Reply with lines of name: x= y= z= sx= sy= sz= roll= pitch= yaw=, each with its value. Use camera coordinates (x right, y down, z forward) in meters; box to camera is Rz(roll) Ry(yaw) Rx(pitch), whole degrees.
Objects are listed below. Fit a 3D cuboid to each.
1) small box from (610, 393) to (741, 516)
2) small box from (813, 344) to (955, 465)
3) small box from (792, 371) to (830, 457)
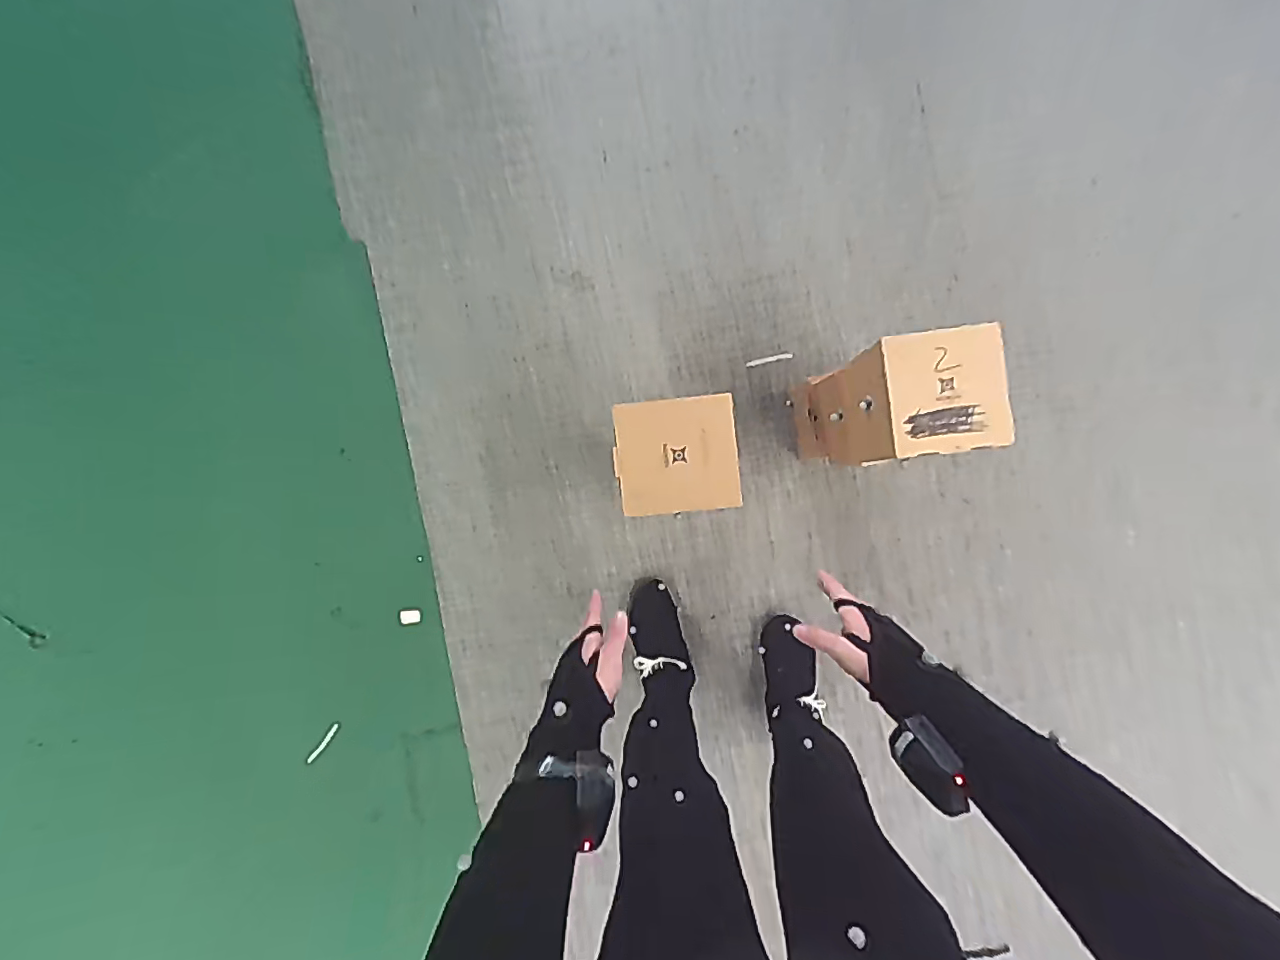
small box: x=0.055 y=-0.035 z=0.849 sx=0.179 sy=0.176 sz=0.168 roll=-6 pitch=91 yaw=2
small box: x=0.438 y=-0.130 z=0.997 sx=0.168 sy=0.176 sz=0.179 roll=-15 pitch=90 yaw=2
small box: x=0.436 y=-0.145 z=1.159 sx=0.179 sy=0.176 sz=0.168 roll=-11 pitch=90 yaw=2
